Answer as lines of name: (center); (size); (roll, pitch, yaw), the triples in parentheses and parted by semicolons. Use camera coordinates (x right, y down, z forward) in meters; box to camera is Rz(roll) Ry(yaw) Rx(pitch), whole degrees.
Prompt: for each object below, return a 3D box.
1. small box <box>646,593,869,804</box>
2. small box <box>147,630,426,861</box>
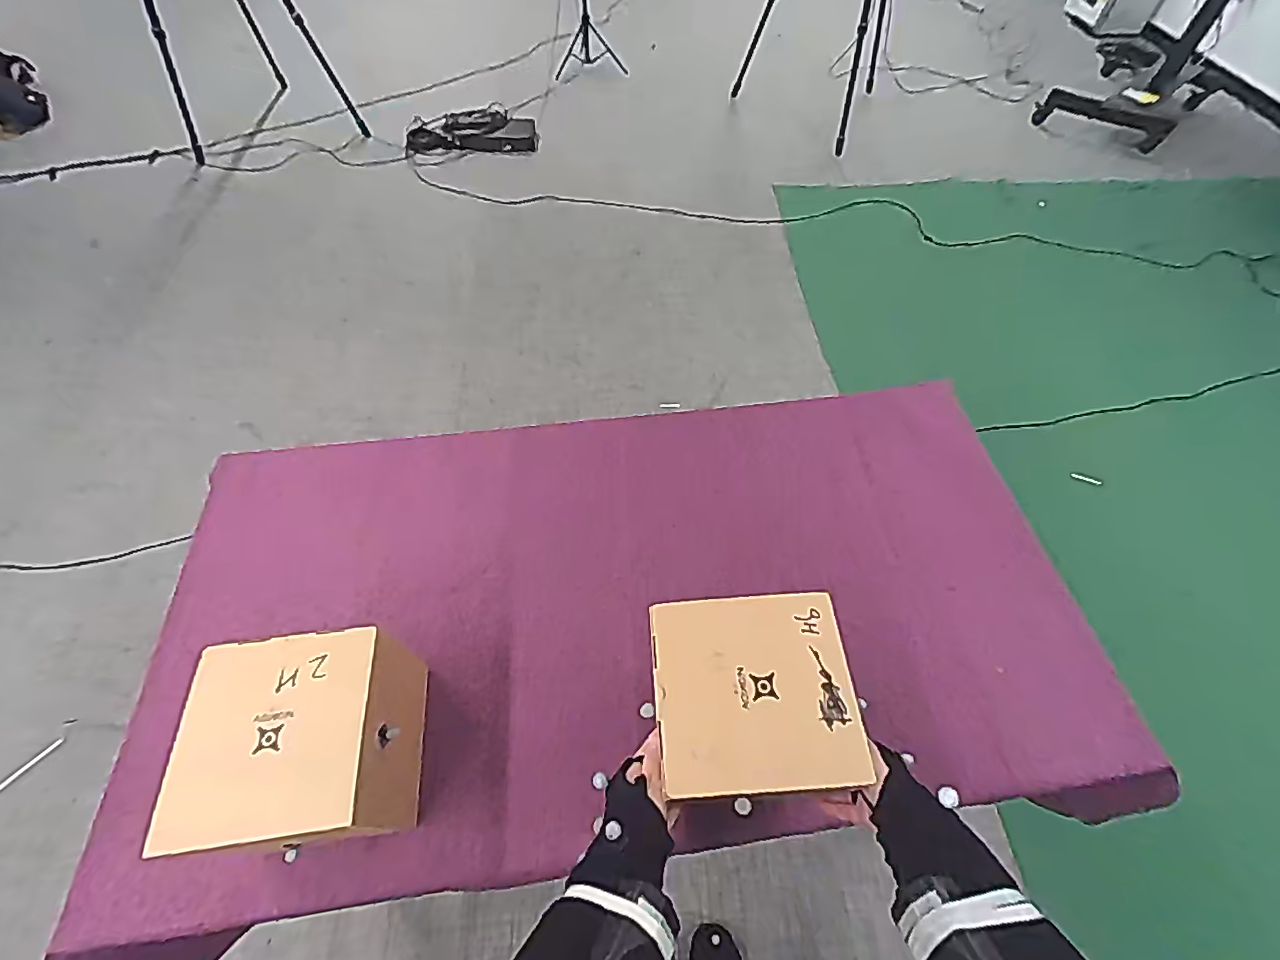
small box: (0.102, 0.227, 0.547); (0.179, 0.176, 0.168); (-4, 57, 1)
small box: (-0.333, 0.273, 0.558); (0.168, 0.176, 0.179); (-5, 56, -5)
